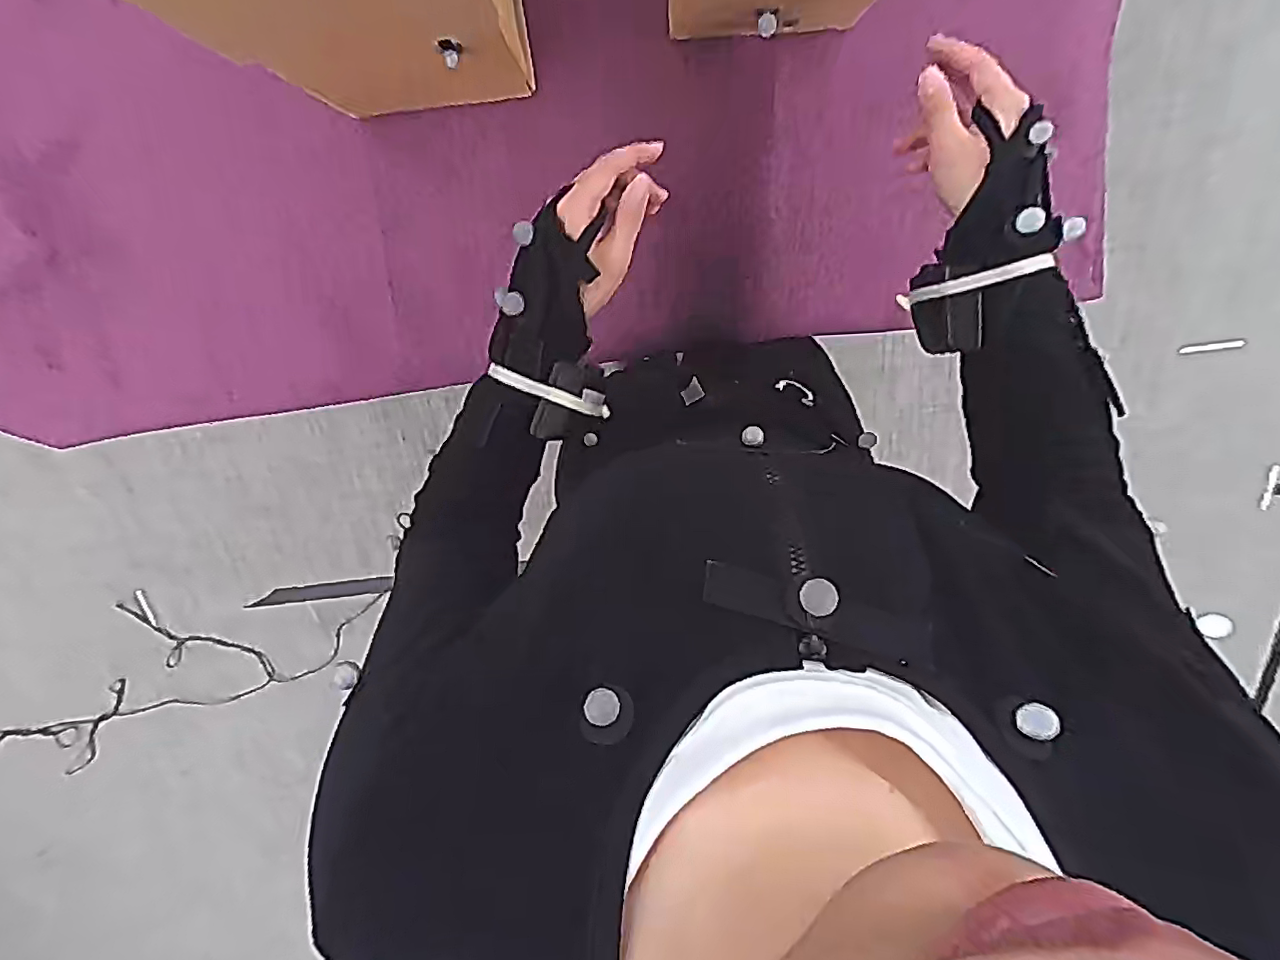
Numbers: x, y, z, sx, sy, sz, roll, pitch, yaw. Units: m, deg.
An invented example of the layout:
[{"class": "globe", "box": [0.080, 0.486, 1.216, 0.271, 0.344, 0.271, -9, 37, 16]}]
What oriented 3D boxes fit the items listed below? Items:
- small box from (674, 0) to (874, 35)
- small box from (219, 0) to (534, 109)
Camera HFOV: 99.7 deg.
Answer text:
[{"class": "small box", "box": [0.110, -0.453, 0.377, 0.168, 0.176, 0.179, -4, 112, -1]}, {"class": "small box", "box": [-0.187, -0.393, 0.391, 0.179, 0.176, 0.168, -8, 111, 0]}]
